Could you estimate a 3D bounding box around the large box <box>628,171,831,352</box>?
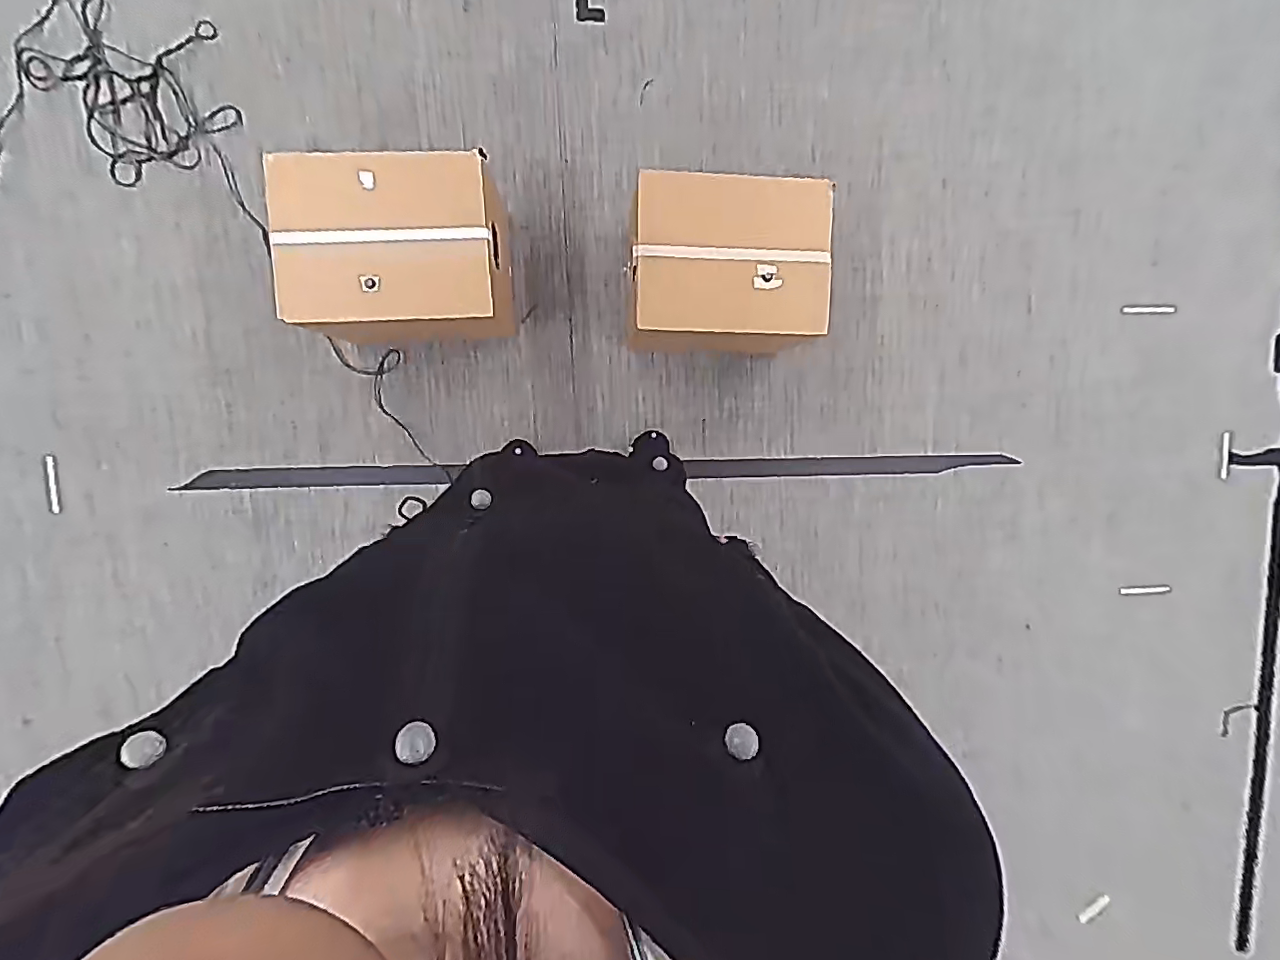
[{"bbox_3d":[0.182,-0.477,1.258,0.408,0.320,0.320,1,96,-6],"label":"large box"}]
